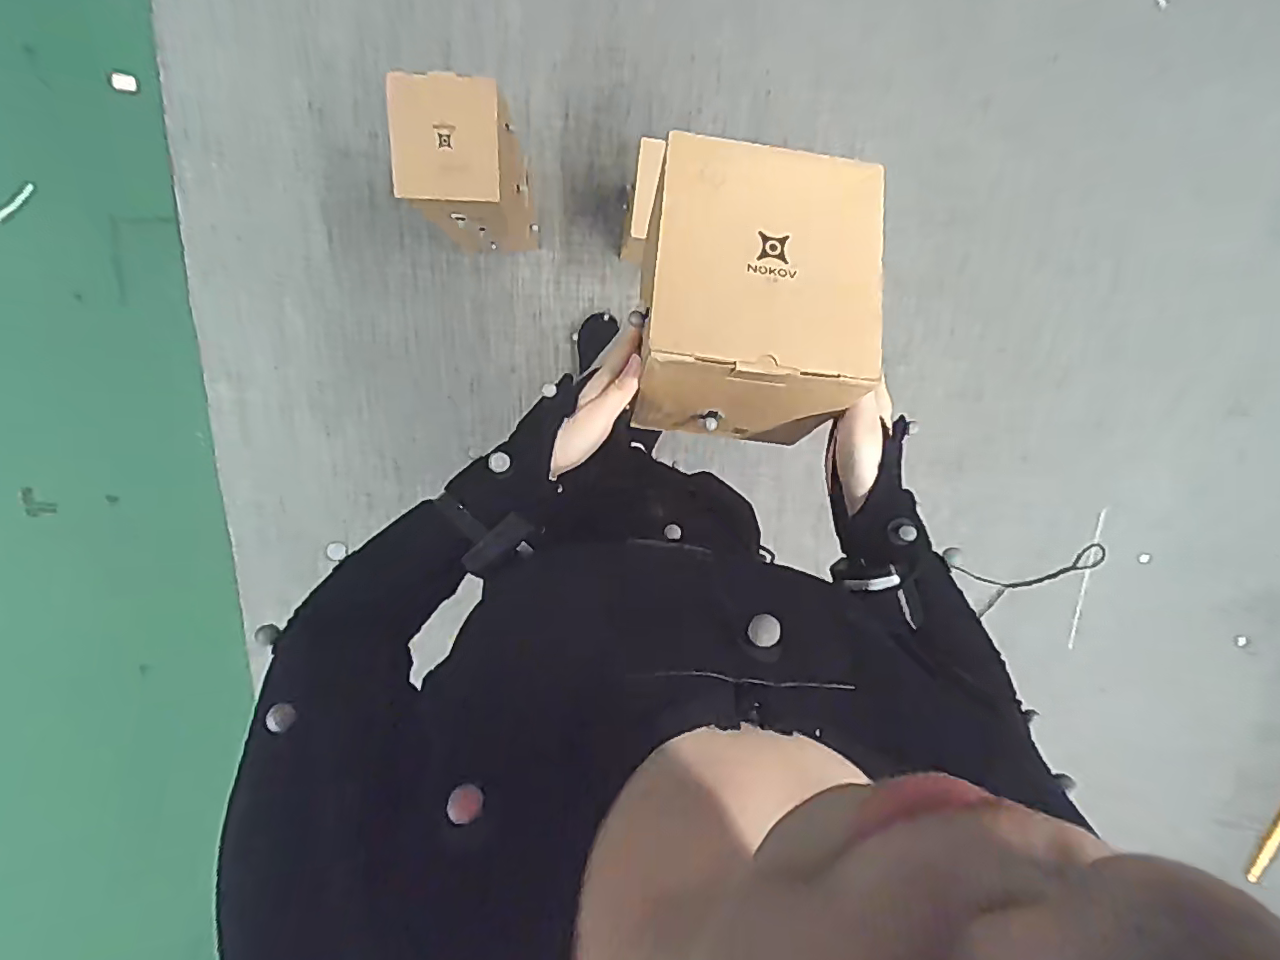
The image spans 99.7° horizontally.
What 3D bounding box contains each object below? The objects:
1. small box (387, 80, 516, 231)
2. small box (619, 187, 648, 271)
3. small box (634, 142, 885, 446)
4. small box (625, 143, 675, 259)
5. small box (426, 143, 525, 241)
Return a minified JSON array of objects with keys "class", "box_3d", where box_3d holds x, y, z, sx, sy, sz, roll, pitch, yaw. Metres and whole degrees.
[{"class":"small box","box_3d":[-0.304,-0.531,0.907,0.168,0.176,0.179,0,105,-3]},{"class":"small box","box_3d":[0.044,-0.589,1.264,0.168,0.176,0.179,7,104,-7]},{"class":"small box","box_3d":[0.088,-0.140,0.465,0.168,0.176,0.179,5,79,-5]},{"class":"small box","box_3d":[0.062,-0.552,1.104,0.168,0.176,0.179,6,104,-6]},{"class":"small box","box_3d":[-0.321,-0.575,1.063,0.168,0.176,0.179,-1,105,-5]}]
